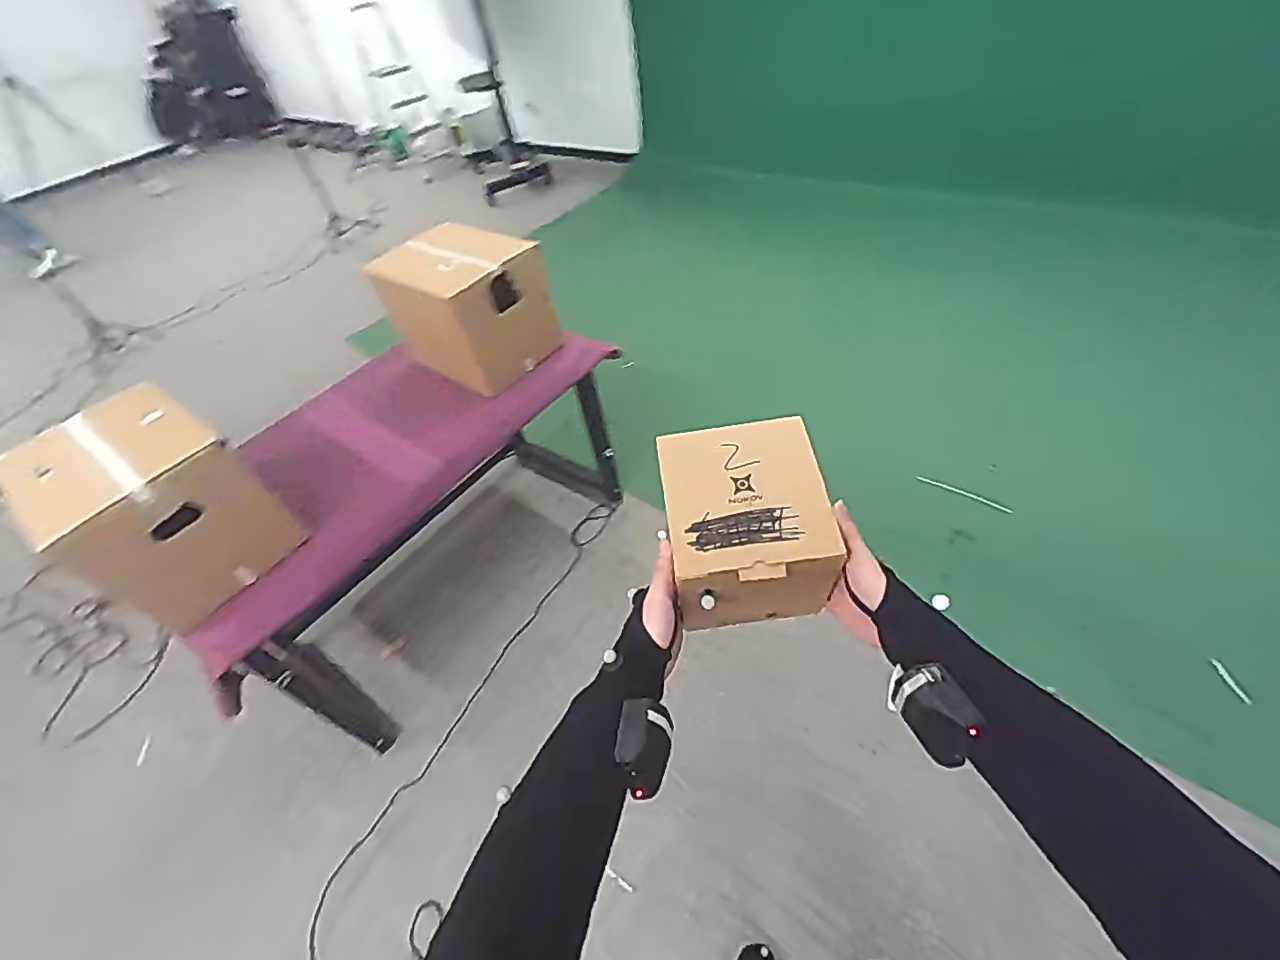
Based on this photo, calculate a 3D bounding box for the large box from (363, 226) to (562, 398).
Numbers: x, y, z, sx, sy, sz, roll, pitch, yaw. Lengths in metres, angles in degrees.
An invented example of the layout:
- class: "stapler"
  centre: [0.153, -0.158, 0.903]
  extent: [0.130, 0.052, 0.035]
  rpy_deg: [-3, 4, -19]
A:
- class: "large box"
  centre: [-0.496, -0.491, 1.562]
  extent: [0.408, 0.320, 0.320]
  rpy_deg: [26, 58, 29]
